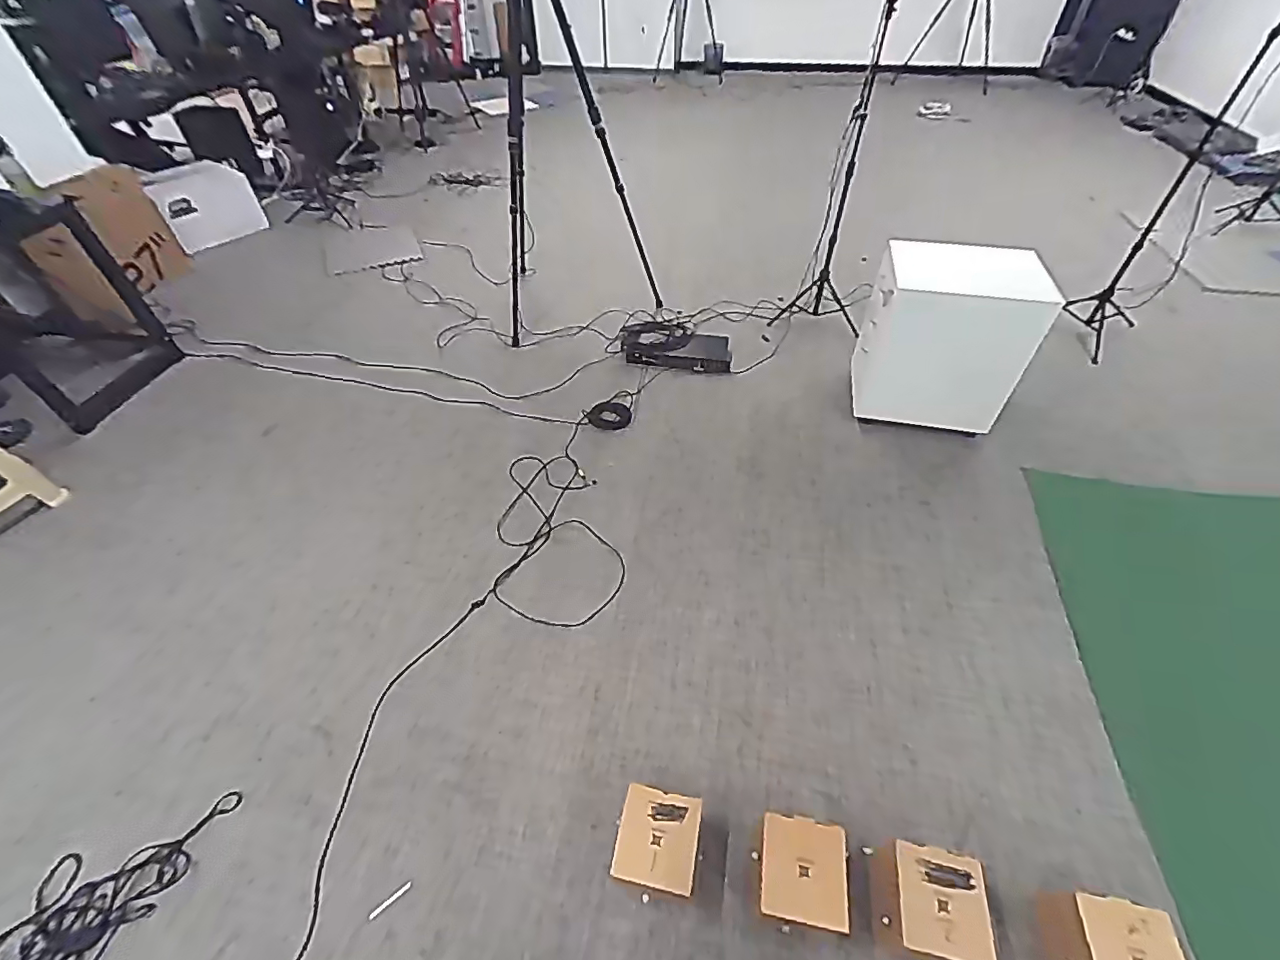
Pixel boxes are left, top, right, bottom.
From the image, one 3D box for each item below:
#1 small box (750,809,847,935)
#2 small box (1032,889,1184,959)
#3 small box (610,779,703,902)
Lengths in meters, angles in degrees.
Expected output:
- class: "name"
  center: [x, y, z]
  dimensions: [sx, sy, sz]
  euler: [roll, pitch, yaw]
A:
- class: "small box"
  center: [0.326, 0.825, 1.134]
  dimensions: [0.168, 0.176, 0.179]
  euler: [7, 47, 8]
- class: "small box"
  center: [0.901, 0.919, 1.038]
  dimensions: [0.168, 0.176, 0.179]
  euler: [9, 48, 8]
- class: "small box"
  center: [0.038, 0.784, 1.175]
  dimensions: [0.168, 0.176, 0.179]
  euler: [9, 49, 10]
